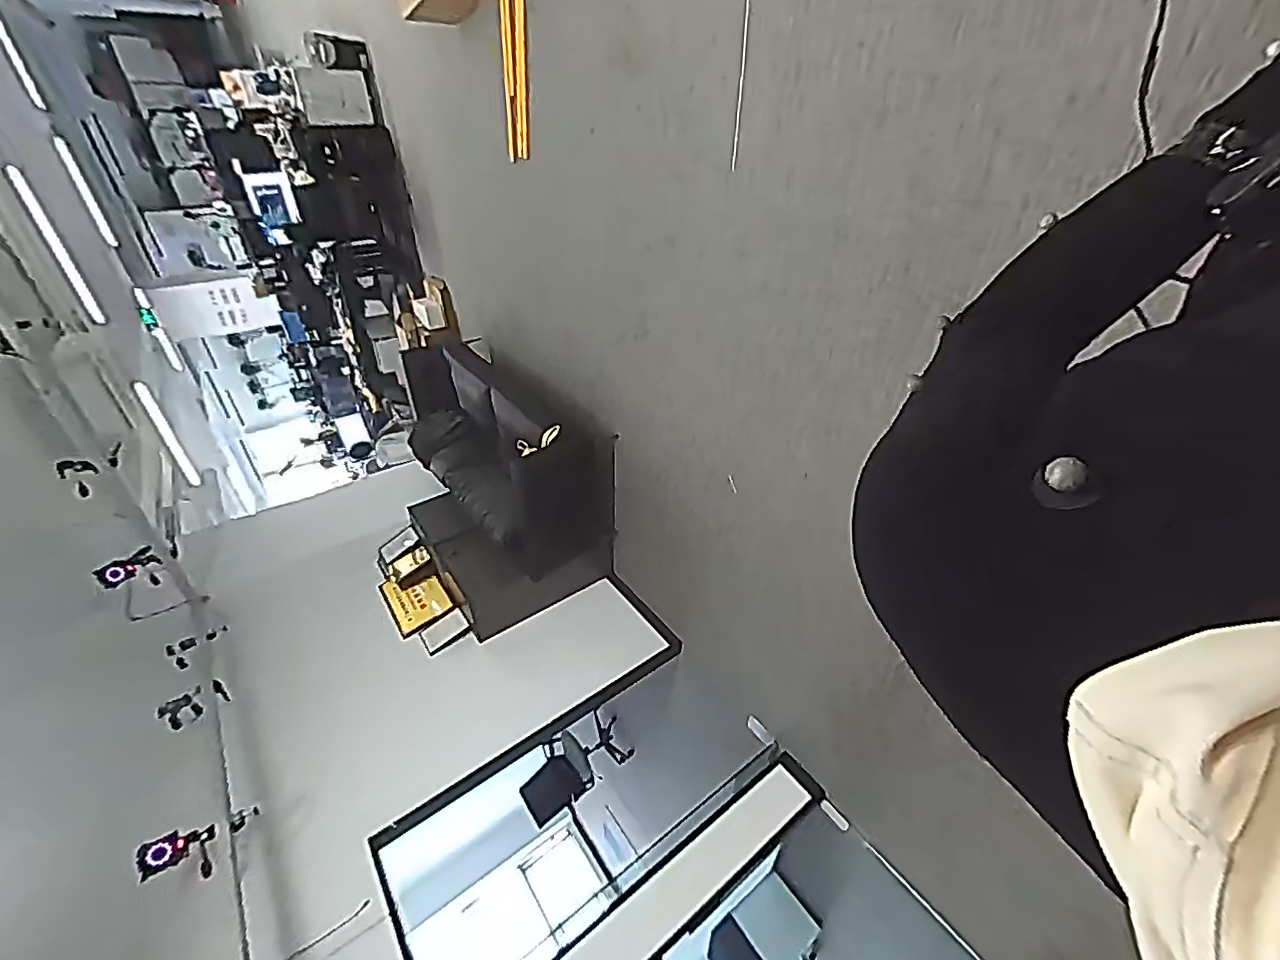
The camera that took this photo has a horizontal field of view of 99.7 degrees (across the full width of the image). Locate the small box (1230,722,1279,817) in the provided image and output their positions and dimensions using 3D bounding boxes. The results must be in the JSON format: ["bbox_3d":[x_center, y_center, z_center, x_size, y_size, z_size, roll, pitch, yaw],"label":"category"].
[{"bbox_3d":[1.492,0.655,1.198,0.168,0.176,0.179,40,142,40],"label":"small box"}]
